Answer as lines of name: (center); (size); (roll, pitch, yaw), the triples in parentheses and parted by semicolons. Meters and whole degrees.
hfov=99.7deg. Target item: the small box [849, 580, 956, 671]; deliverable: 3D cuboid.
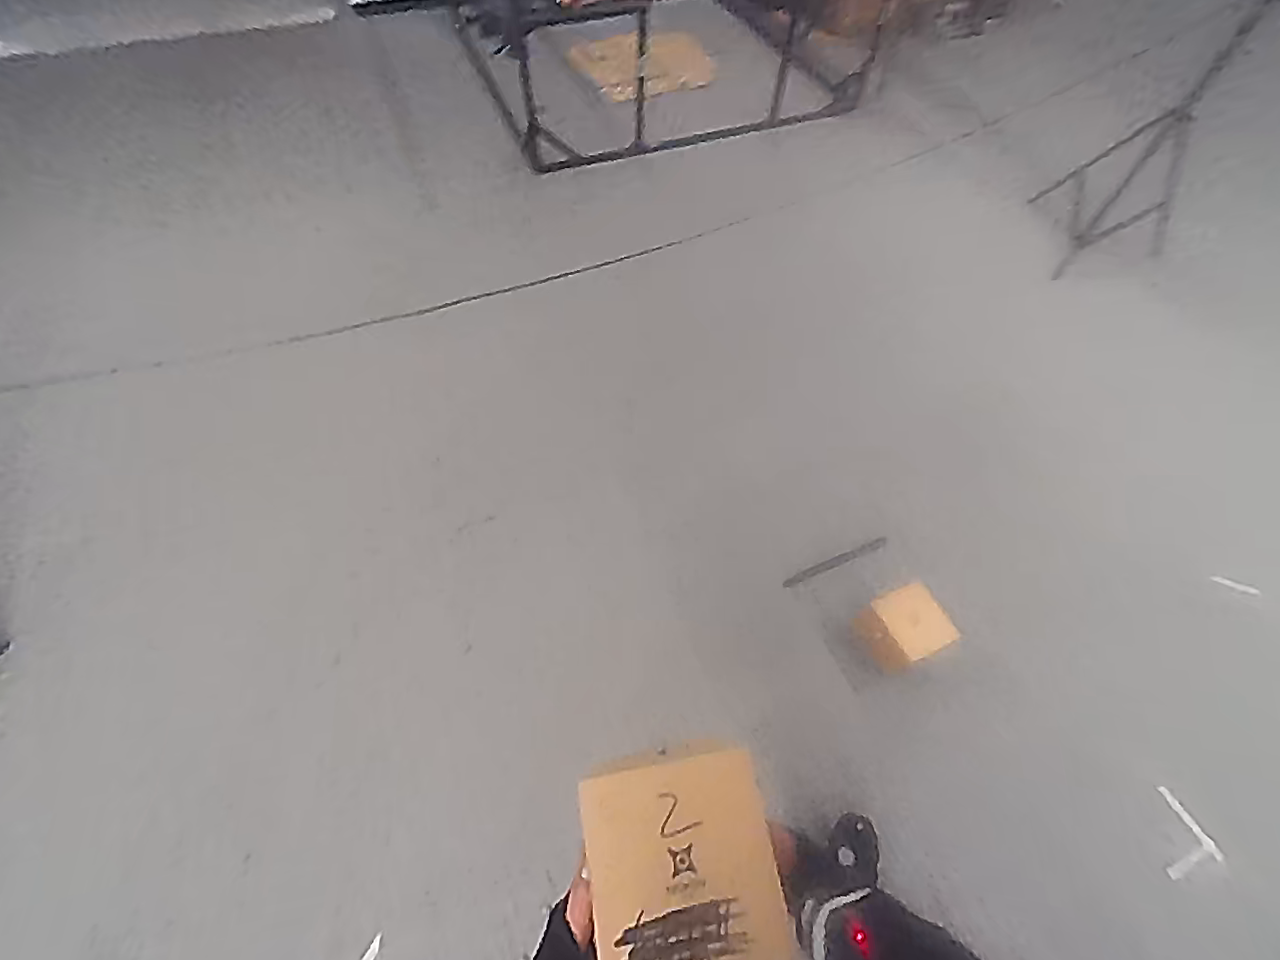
small box: (0.718, 0.411, 1.499); (0.168, 0.176, 0.179); (-21, 60, -14)
